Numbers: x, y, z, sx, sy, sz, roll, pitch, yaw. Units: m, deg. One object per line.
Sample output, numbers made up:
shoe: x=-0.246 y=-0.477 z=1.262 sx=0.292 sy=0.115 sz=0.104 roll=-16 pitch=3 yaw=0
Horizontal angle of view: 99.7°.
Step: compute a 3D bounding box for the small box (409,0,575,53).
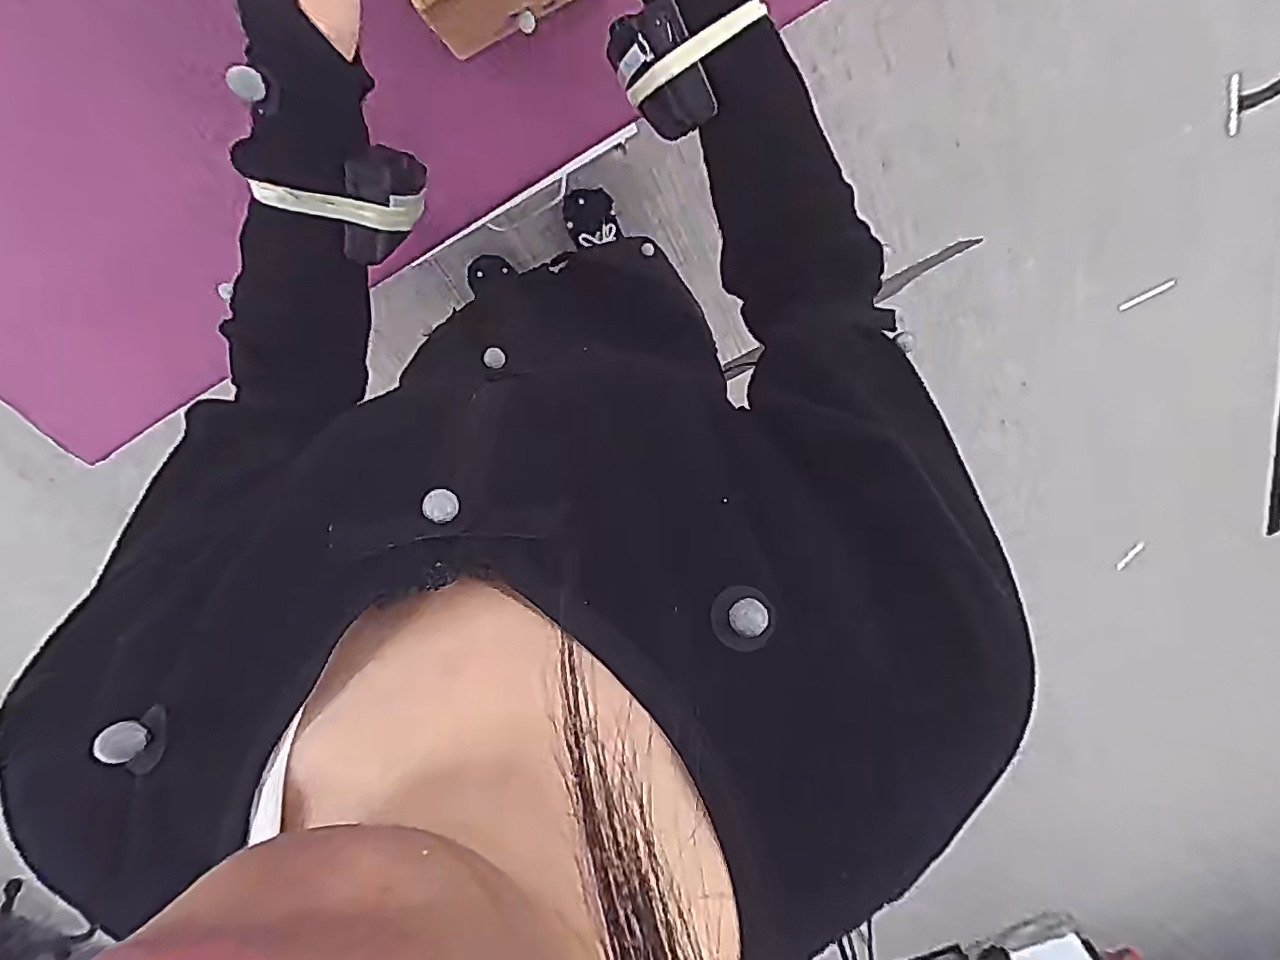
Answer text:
small box: x=-0.138 y=-0.489 z=0.429 sx=0.168 sy=0.176 sz=0.179 roll=-23 pitch=118 yaw=6
